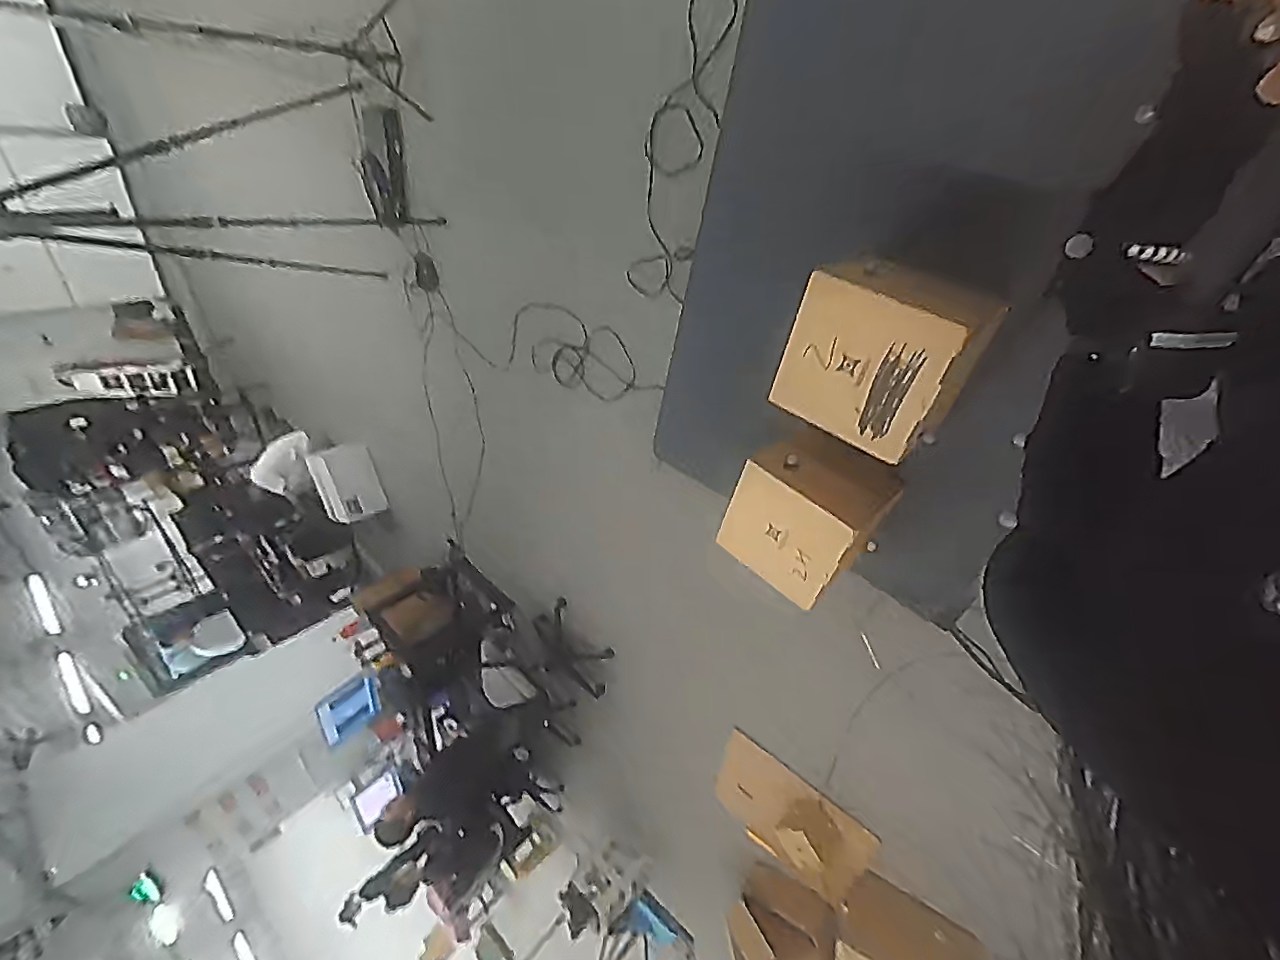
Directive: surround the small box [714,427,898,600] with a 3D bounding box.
[{"bbox_3d":[0.246,0.037,0.811,0.179,0.176,0.168,37,134,26],"label":"small box"}]
